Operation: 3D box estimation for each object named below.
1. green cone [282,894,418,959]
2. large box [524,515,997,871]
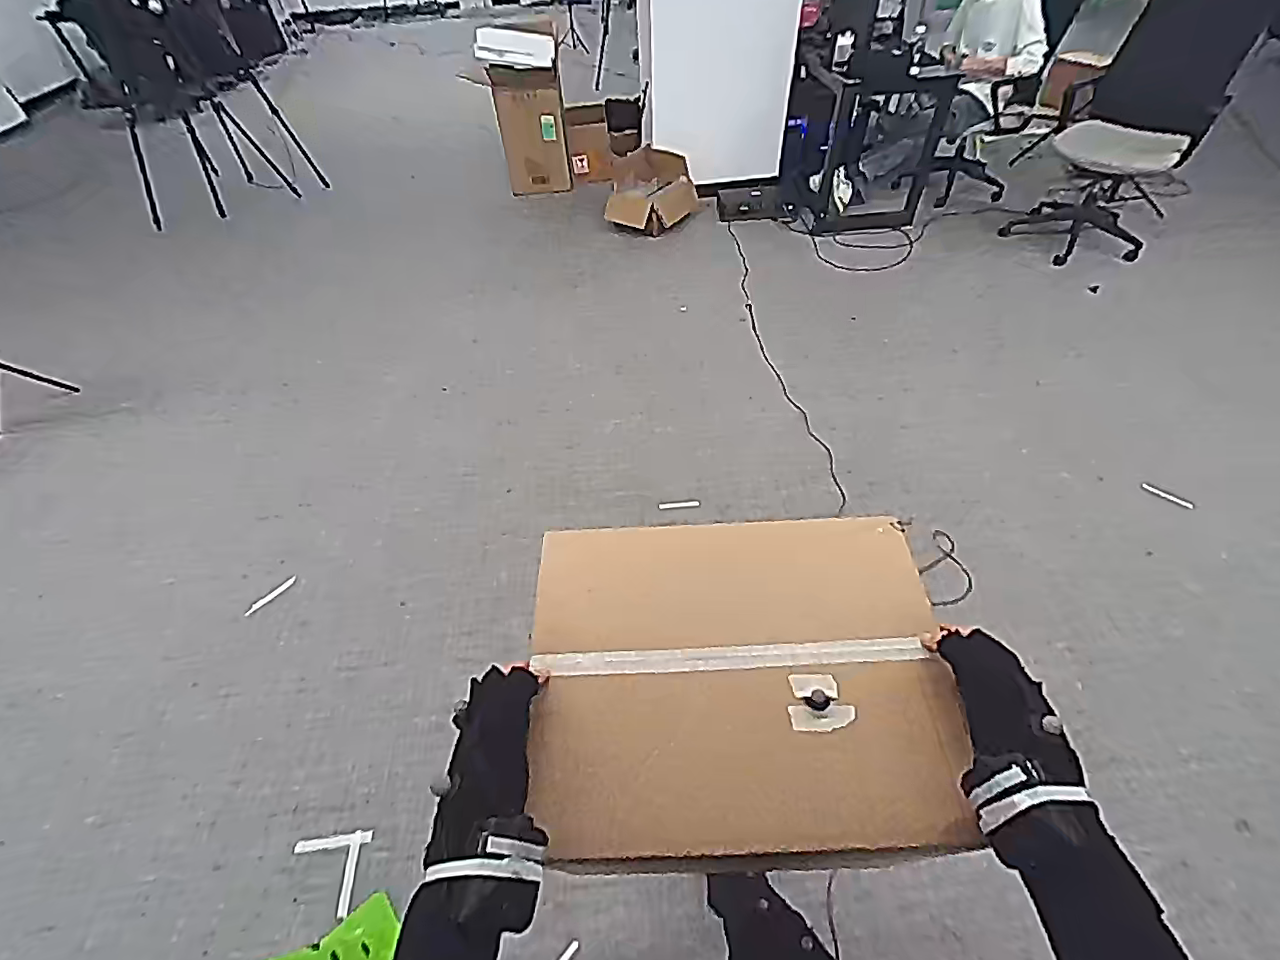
[{"bbox_3d":[-0.580,0.886,0.961,0.202,0.368,0.200,-37,55,-23],"label":"green cone"},{"bbox_3d":[0.098,0.264,0.654,0.408,0.320,0.320,-3,52,1],"label":"large box"}]
